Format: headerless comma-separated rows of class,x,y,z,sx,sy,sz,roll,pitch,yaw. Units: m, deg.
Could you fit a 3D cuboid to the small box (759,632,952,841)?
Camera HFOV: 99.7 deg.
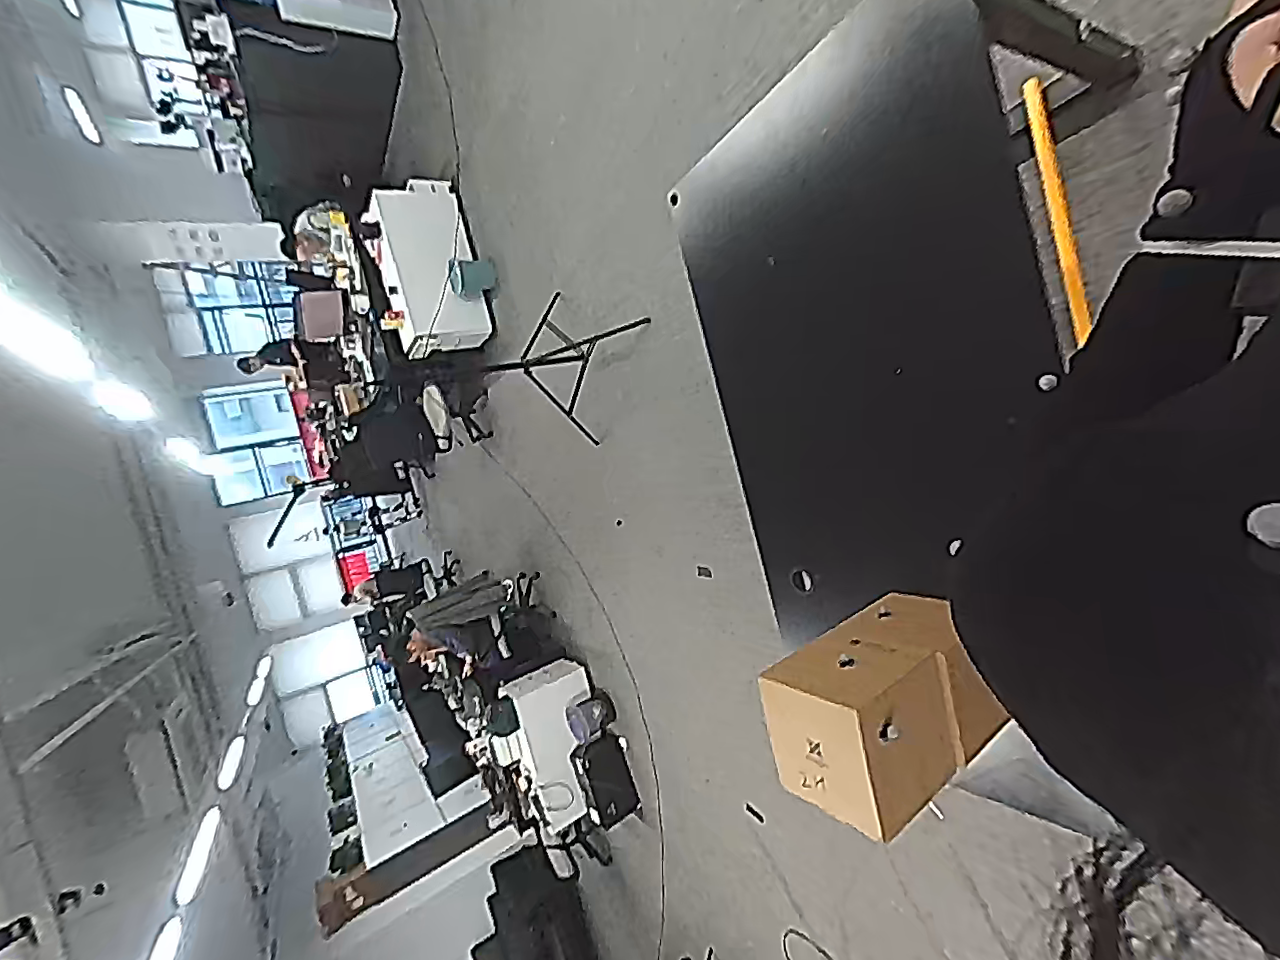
small box,0.295,0.331,0.743,0.168,0.176,0.179,-5,101,59

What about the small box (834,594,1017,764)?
small box,0.432,0.285,0.823,0.179,0.176,0.168,-6,100,57
